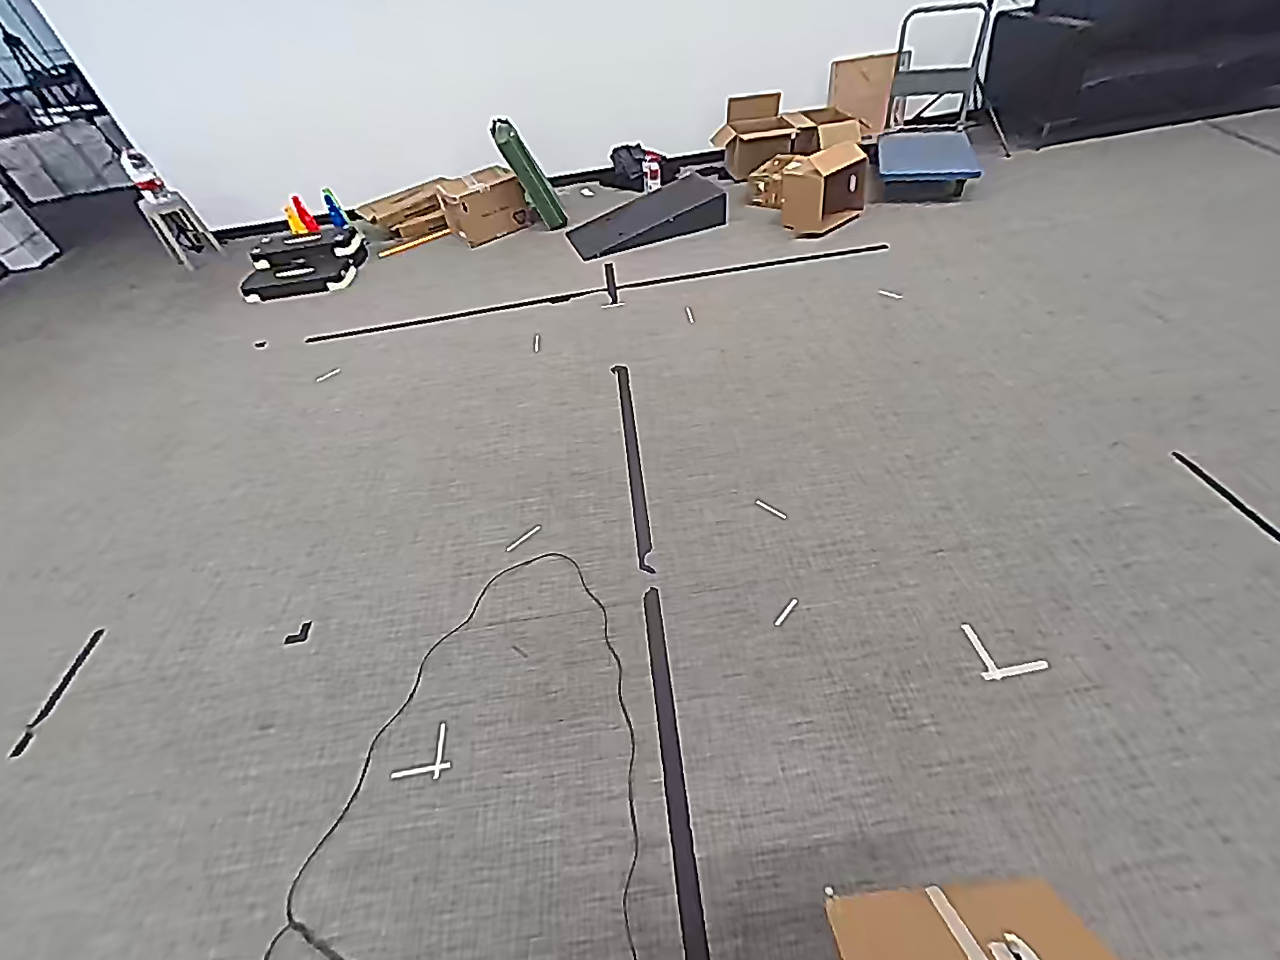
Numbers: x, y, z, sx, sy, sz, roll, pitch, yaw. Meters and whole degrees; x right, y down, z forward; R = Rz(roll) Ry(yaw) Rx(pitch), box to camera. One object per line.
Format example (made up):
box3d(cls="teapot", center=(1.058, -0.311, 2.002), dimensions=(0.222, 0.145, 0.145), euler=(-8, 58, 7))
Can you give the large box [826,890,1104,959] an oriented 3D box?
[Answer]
box3d(cls="large box", center=(0.433, 0.748, 0.587), dimensions=(0.320, 0.408, 0.320), euler=(-7, 84, 4))
